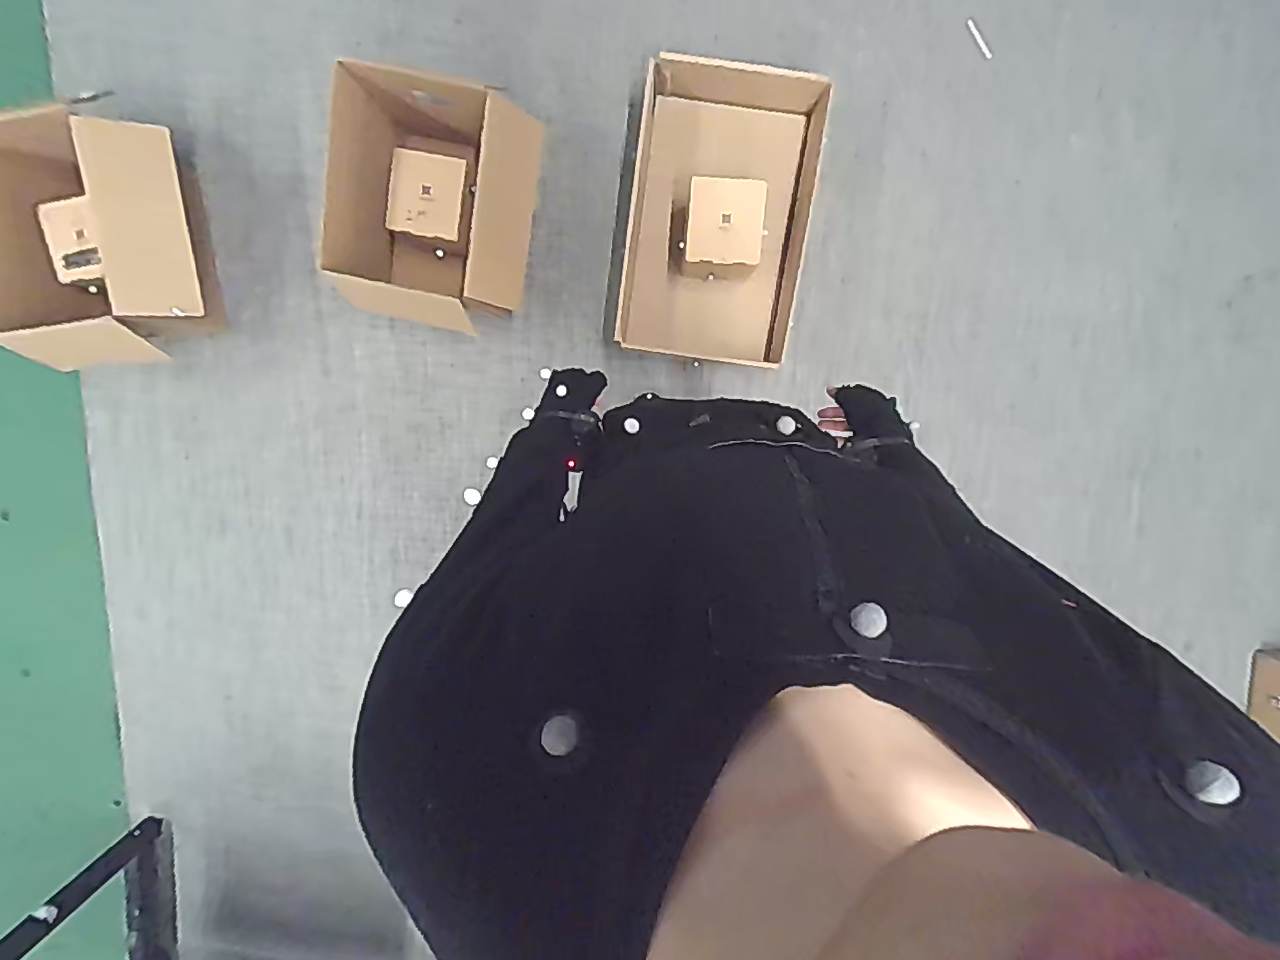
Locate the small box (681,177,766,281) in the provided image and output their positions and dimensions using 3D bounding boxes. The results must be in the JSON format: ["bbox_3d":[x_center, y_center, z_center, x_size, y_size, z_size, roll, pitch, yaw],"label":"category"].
[{"bbox_3d":[0.184,-0.572,1.248,0.168,0.176,0.179,3,99,1],"label":"small box"}]
